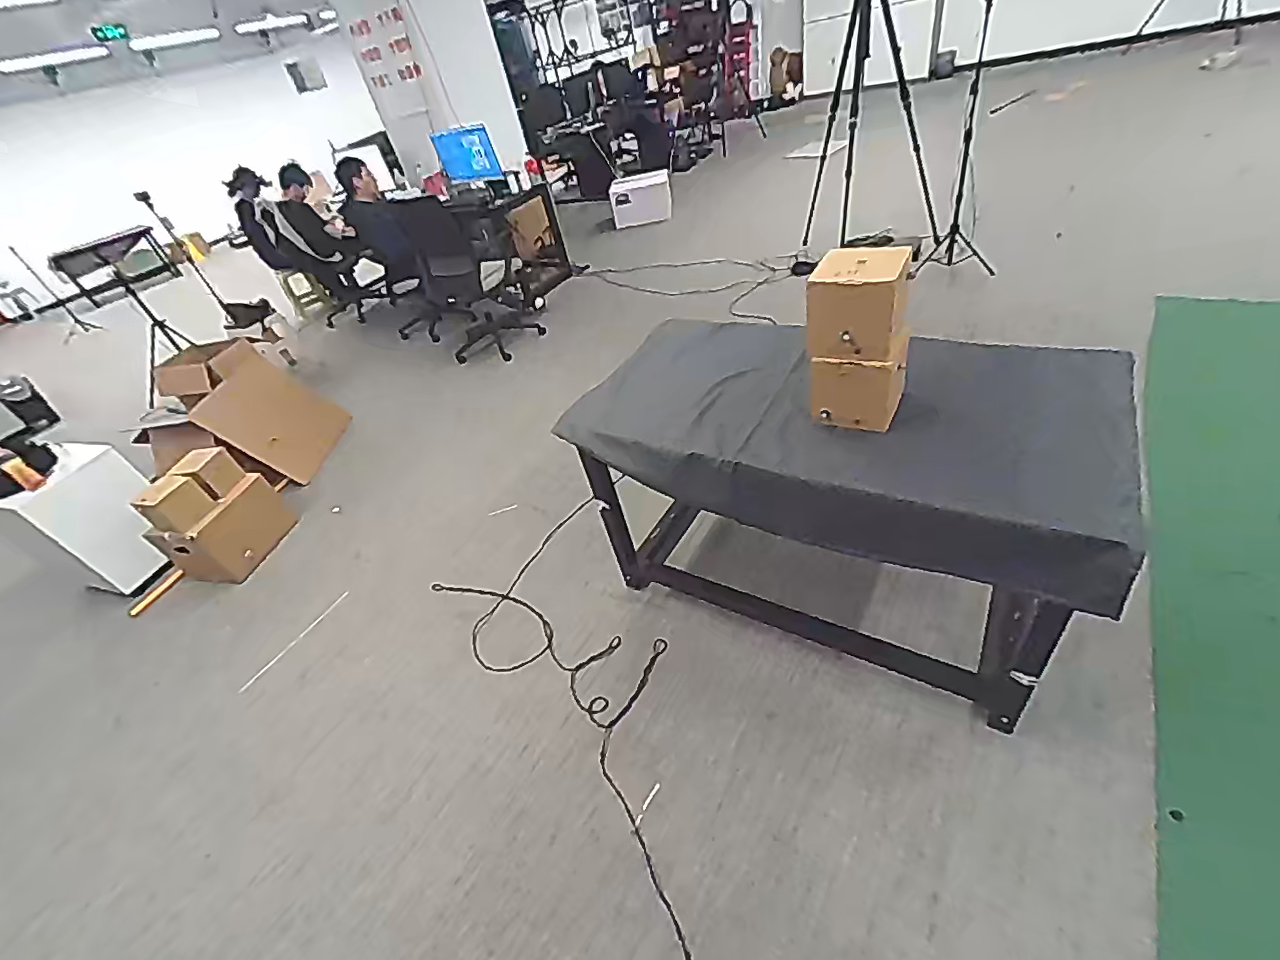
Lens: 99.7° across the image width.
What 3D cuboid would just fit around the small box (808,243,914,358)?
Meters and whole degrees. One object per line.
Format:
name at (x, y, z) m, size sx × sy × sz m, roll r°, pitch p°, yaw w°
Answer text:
small box at (0.456, -0.373, 1.123) m, size 0.168 × 0.176 × 0.179 m, roll 12°, pitch 48°, yaw 30°

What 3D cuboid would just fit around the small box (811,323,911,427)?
small box at (0.494, -0.239, 1.212) m, size 0.168 × 0.176 × 0.179 m, roll 14°, pitch 47°, yaw 31°
